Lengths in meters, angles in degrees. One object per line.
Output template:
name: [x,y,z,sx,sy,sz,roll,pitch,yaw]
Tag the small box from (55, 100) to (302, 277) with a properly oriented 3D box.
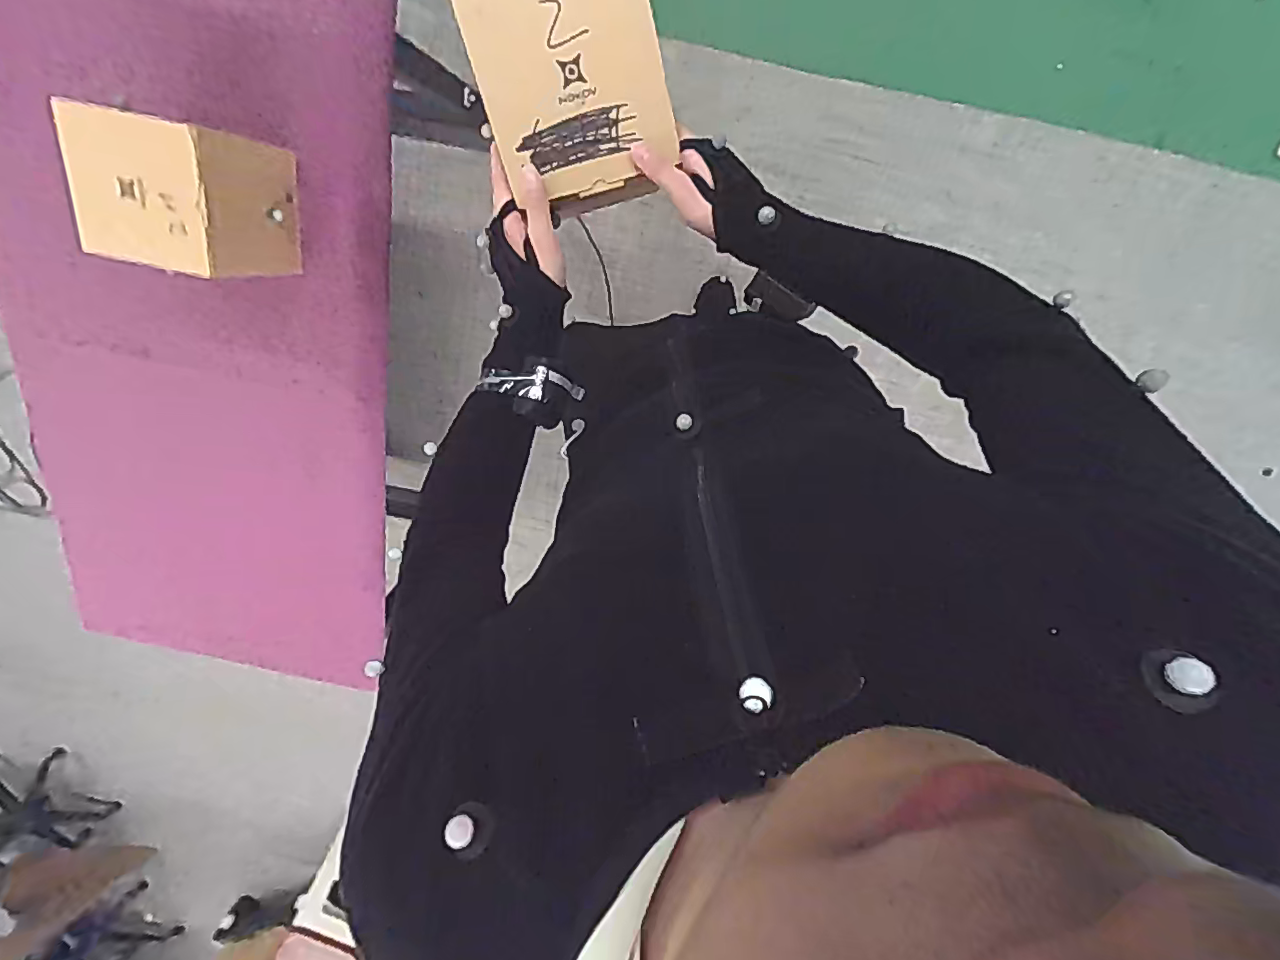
small box: [-0.592,-0.374,0.720,0.179,0.176,0.168,12,114,2]
